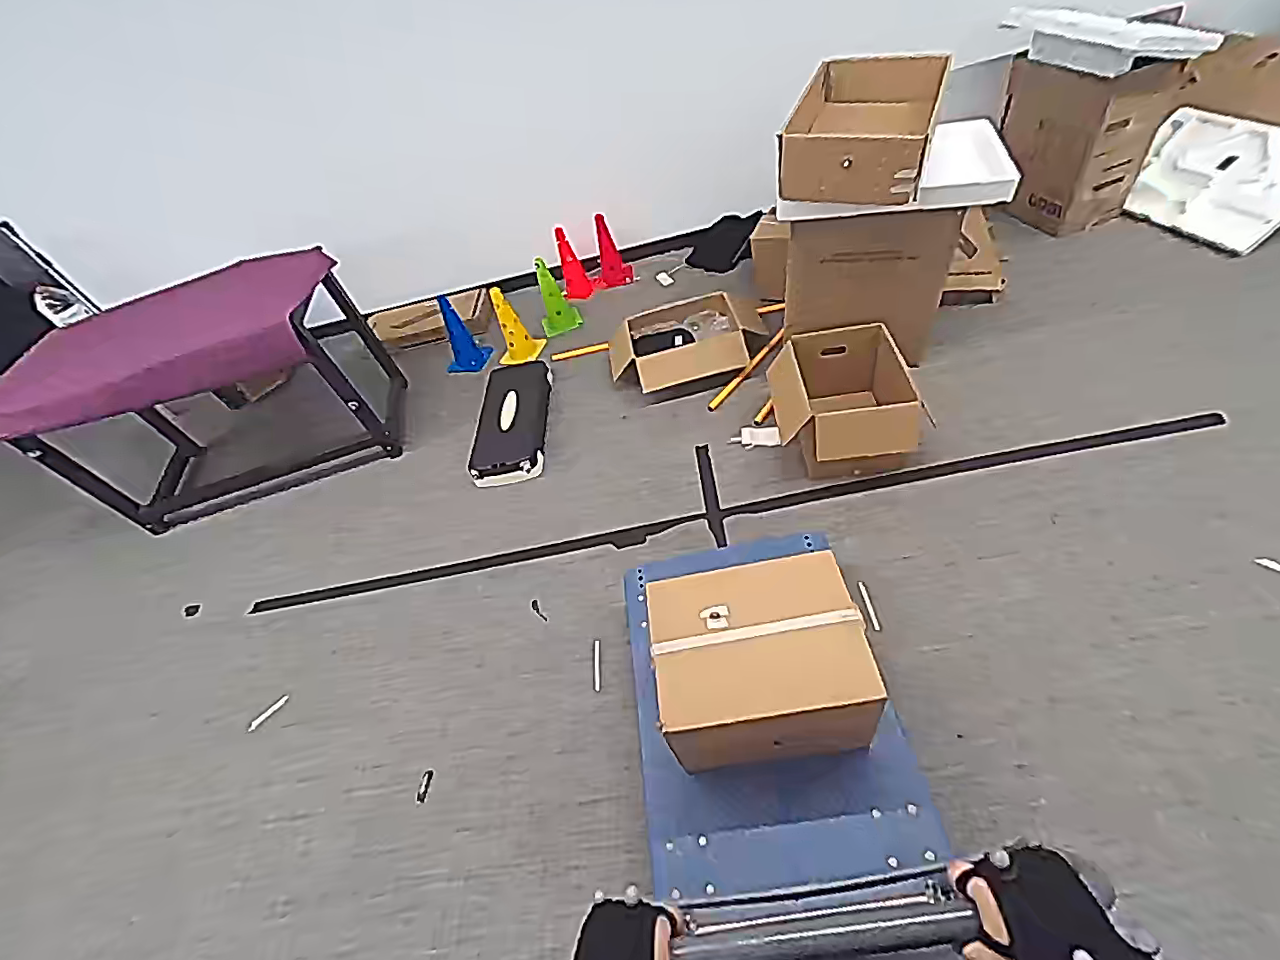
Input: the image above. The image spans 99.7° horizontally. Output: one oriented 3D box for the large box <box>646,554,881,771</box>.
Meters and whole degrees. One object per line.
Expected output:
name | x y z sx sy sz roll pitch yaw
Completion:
large box | 0.254 0.407 1.181 0.408 0.320 0.320 -13 47 6
